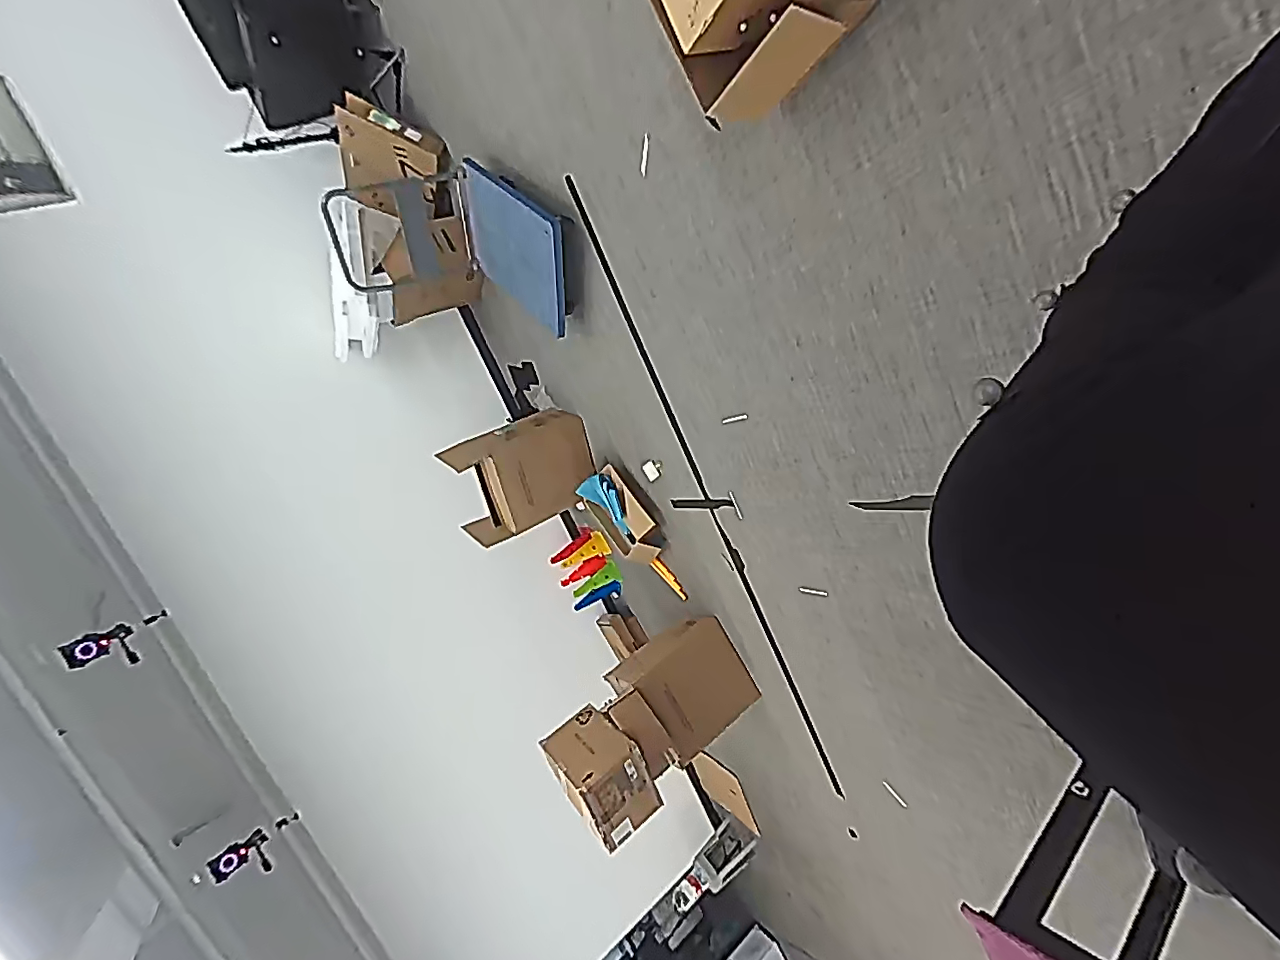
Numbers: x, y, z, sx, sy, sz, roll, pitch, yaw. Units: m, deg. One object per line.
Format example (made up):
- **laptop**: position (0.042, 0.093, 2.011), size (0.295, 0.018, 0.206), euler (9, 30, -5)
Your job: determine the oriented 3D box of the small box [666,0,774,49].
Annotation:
- **small box**: position (0.170, -1.079, 1.162), size (0.168, 0.176, 0.179), euler (-10, 108, 63)
